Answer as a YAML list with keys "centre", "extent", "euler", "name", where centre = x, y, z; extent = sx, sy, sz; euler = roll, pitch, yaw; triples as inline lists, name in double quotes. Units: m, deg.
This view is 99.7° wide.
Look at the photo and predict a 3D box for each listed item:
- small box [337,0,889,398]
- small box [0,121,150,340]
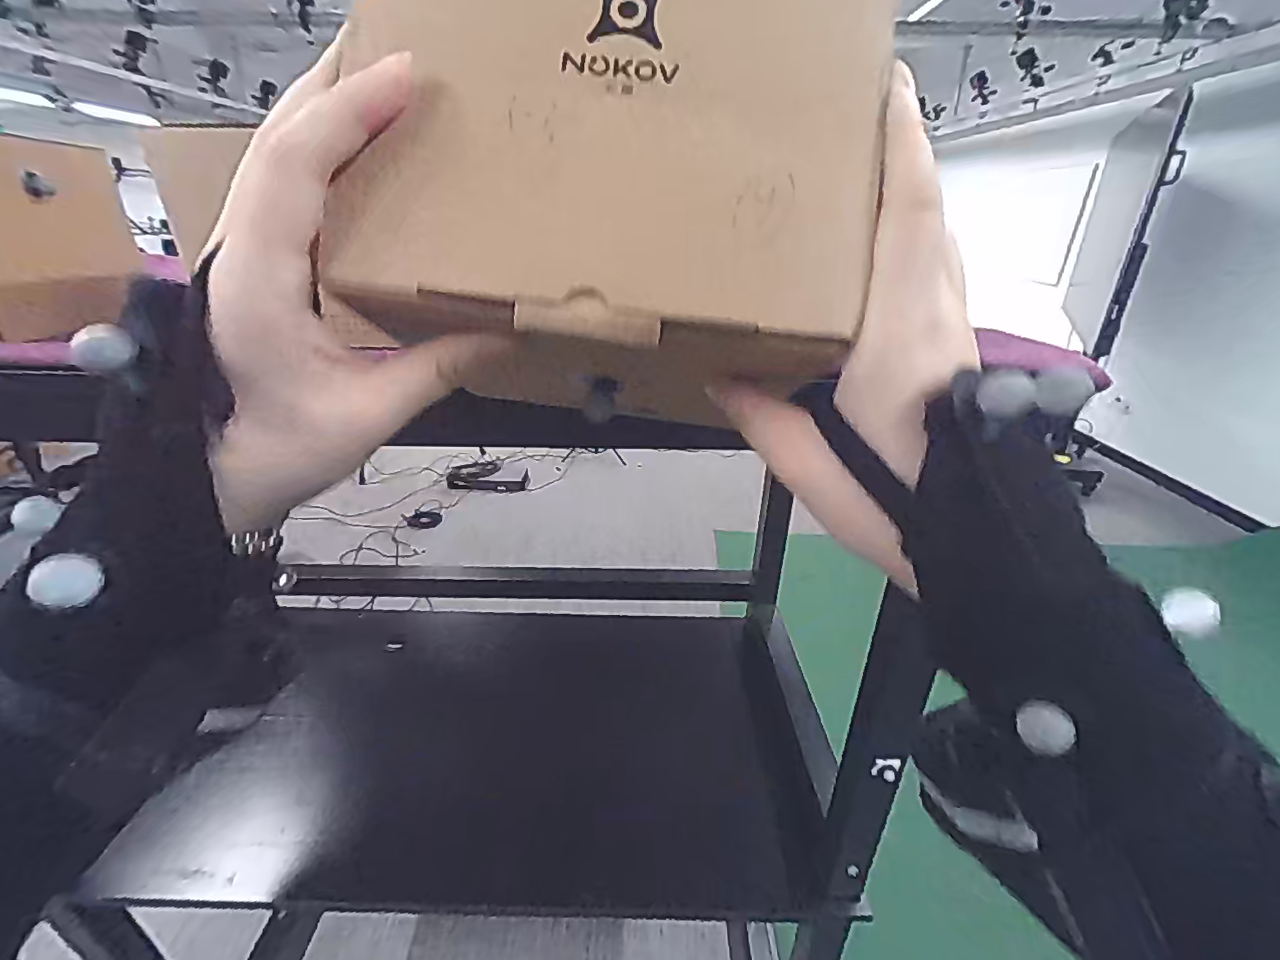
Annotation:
- centre: [-0.004, -0.143, 0.251]
  extent: [0.168, 0.179, 0.176]
  euler: [7, -3, 0]
  name: "small box"
- centre: [-0.612, -0.232, 0.500]
  extent: [0.168, 0.176, 0.179]
  euler: [0, 25, -3]
  name: "small box"
